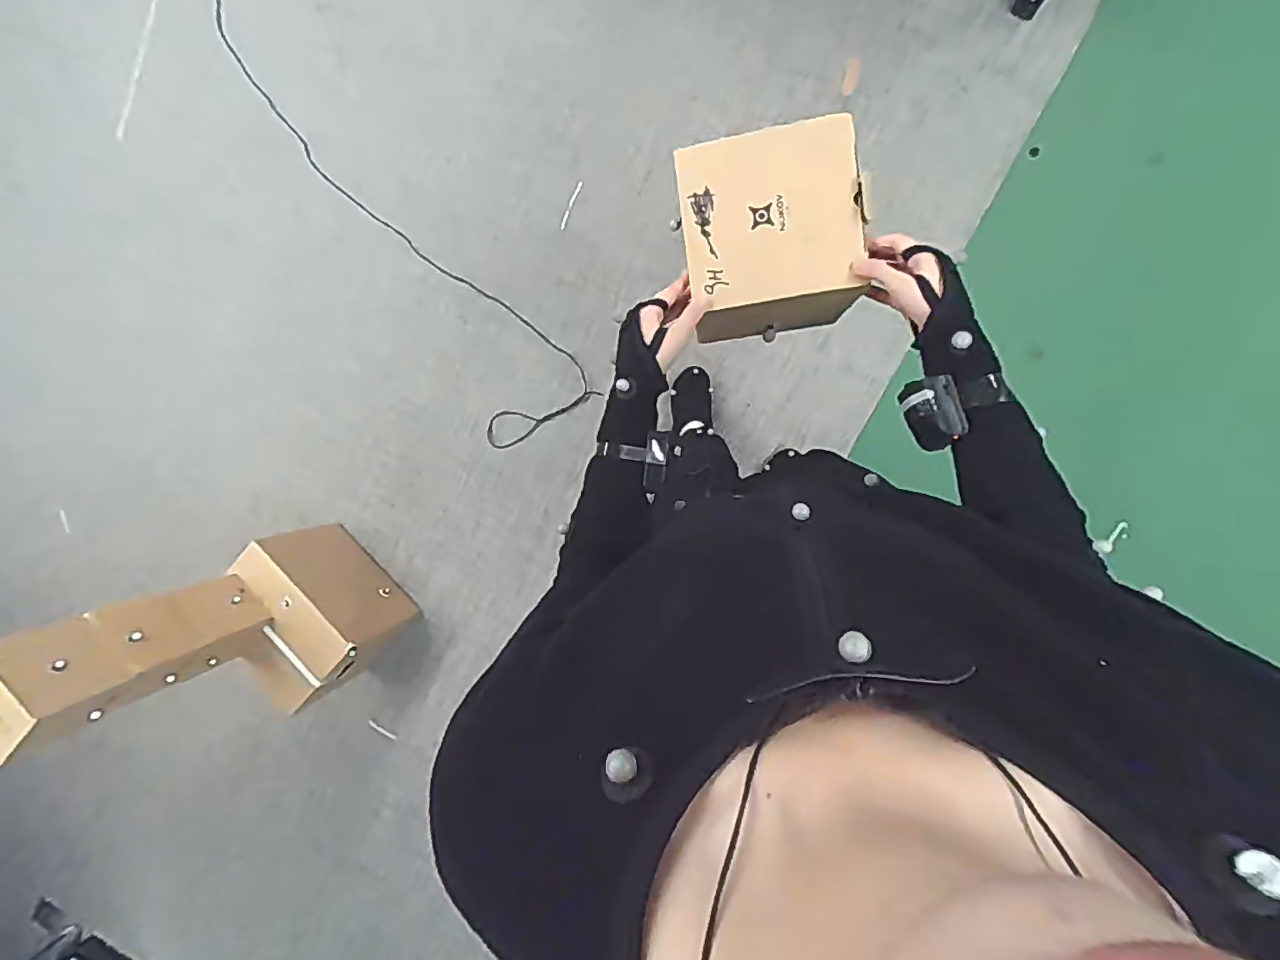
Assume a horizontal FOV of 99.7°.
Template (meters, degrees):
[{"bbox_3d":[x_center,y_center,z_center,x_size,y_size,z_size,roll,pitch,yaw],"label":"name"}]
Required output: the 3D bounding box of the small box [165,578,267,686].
[{"bbox_3d":[-1.107,0.379,1.375,0.179,0.176,0.168,-45,86,12],"label":"small box"}]

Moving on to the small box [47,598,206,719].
[{"bbox_3d":[-1.145,0.387,1.217,0.168,0.176,0.179,-43,87,12],"label":"small box"}]

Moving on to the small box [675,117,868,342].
[{"bbox_3d":[0.136,-0.262,0.608,0.179,0.176,0.168,-6,91,7],"label":"small box"}]
